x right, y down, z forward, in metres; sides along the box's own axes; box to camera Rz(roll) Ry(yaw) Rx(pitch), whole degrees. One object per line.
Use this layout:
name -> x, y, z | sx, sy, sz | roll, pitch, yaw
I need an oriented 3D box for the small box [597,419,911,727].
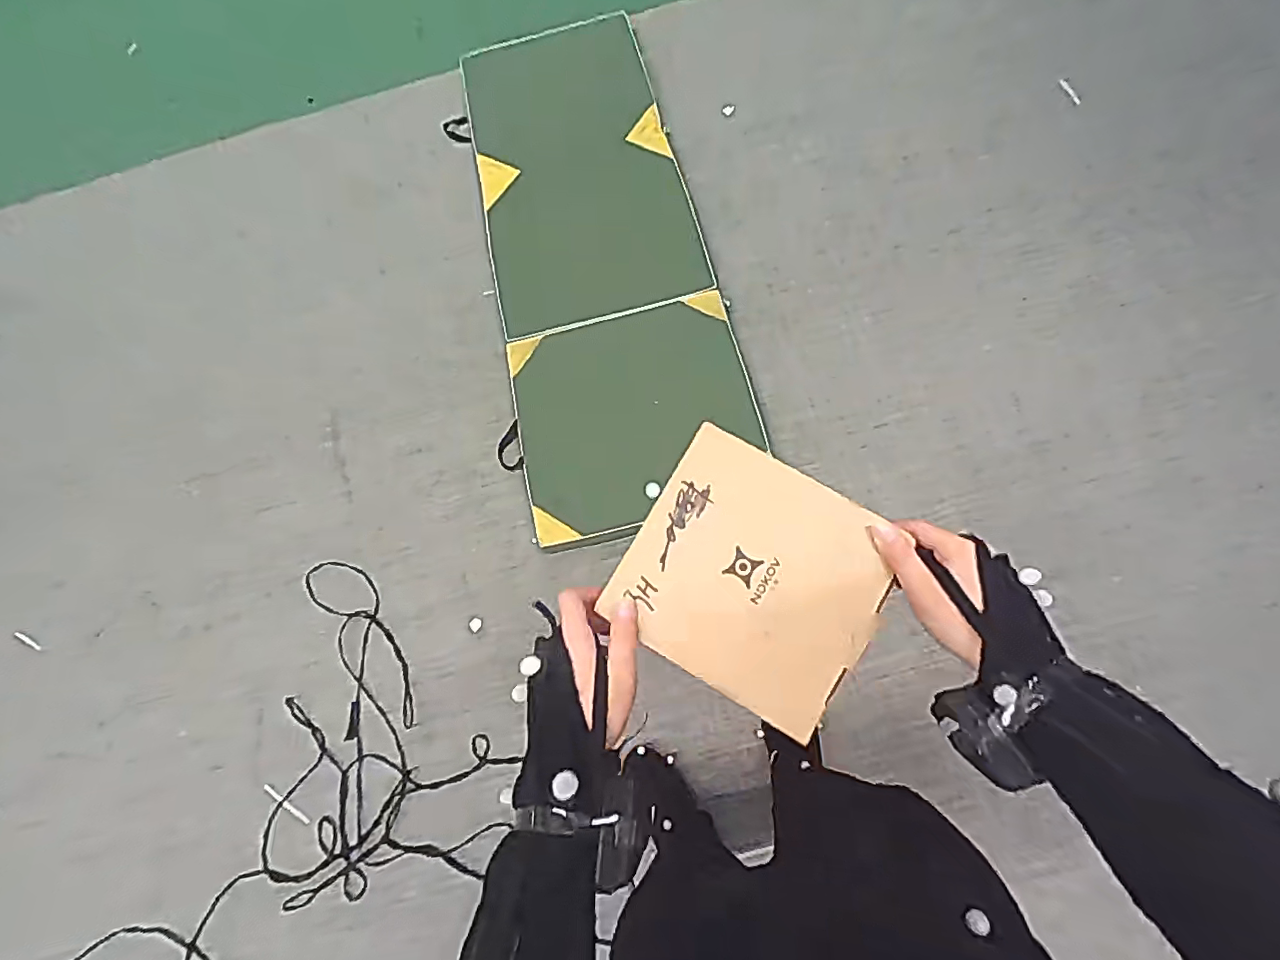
small box -> 0.088, 0.074, 0.473 | 0.179, 0.176, 0.168 | 30, 84, 9
